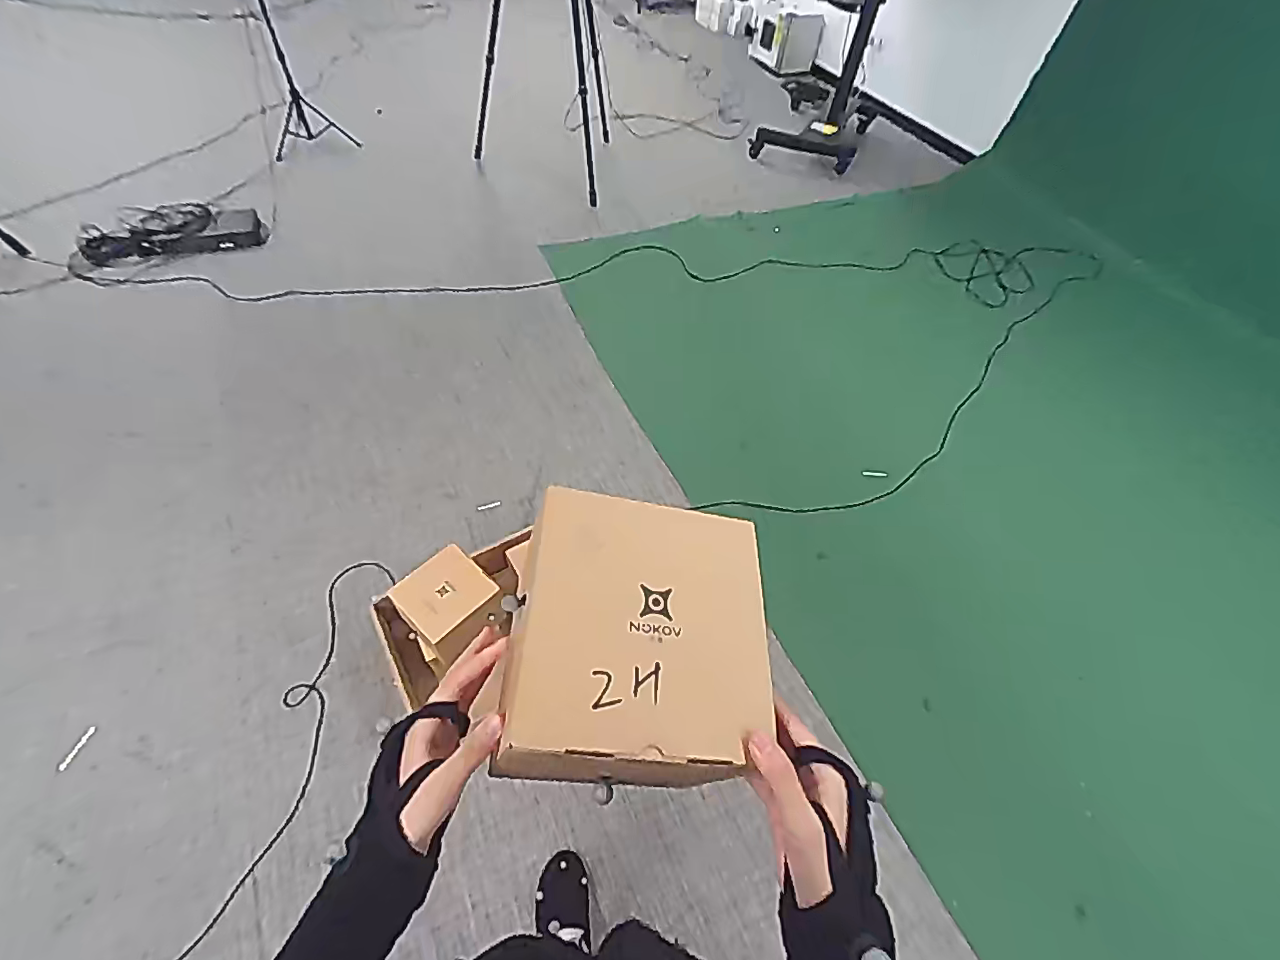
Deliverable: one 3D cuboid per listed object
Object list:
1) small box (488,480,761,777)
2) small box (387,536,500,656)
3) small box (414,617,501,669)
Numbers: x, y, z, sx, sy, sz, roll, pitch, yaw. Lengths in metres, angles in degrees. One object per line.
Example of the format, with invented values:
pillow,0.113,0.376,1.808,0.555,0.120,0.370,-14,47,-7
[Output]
small box,-0.022,0.127,0.431,0.168,0.176,0.179,11,57,-13
small box,-0.435,0.267,1.231,0.168,0.176,0.179,39,59,18
small box,-0.468,0.350,1.368,0.179,0.176,0.168,-24,62,-23
